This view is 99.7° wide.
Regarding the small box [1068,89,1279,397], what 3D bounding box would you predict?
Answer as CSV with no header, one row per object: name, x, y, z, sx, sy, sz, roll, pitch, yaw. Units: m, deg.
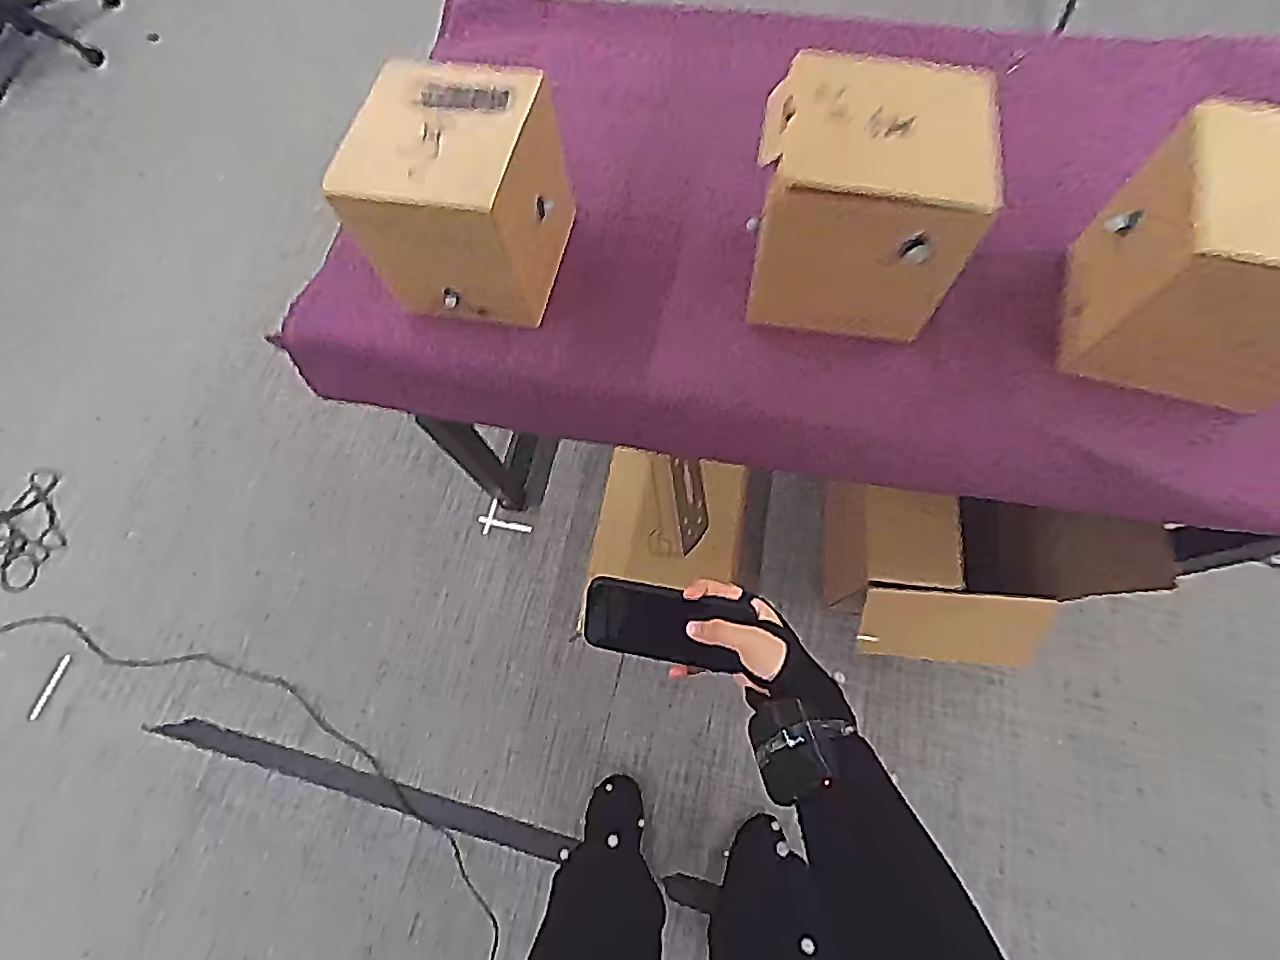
small box,0.522,-0.194,0.474,0.179,0.176,0.168,16,71,9

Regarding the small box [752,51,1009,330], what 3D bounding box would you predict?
small box,0.215,-0.267,0.522,0.179,0.176,0.168,9,68,7
